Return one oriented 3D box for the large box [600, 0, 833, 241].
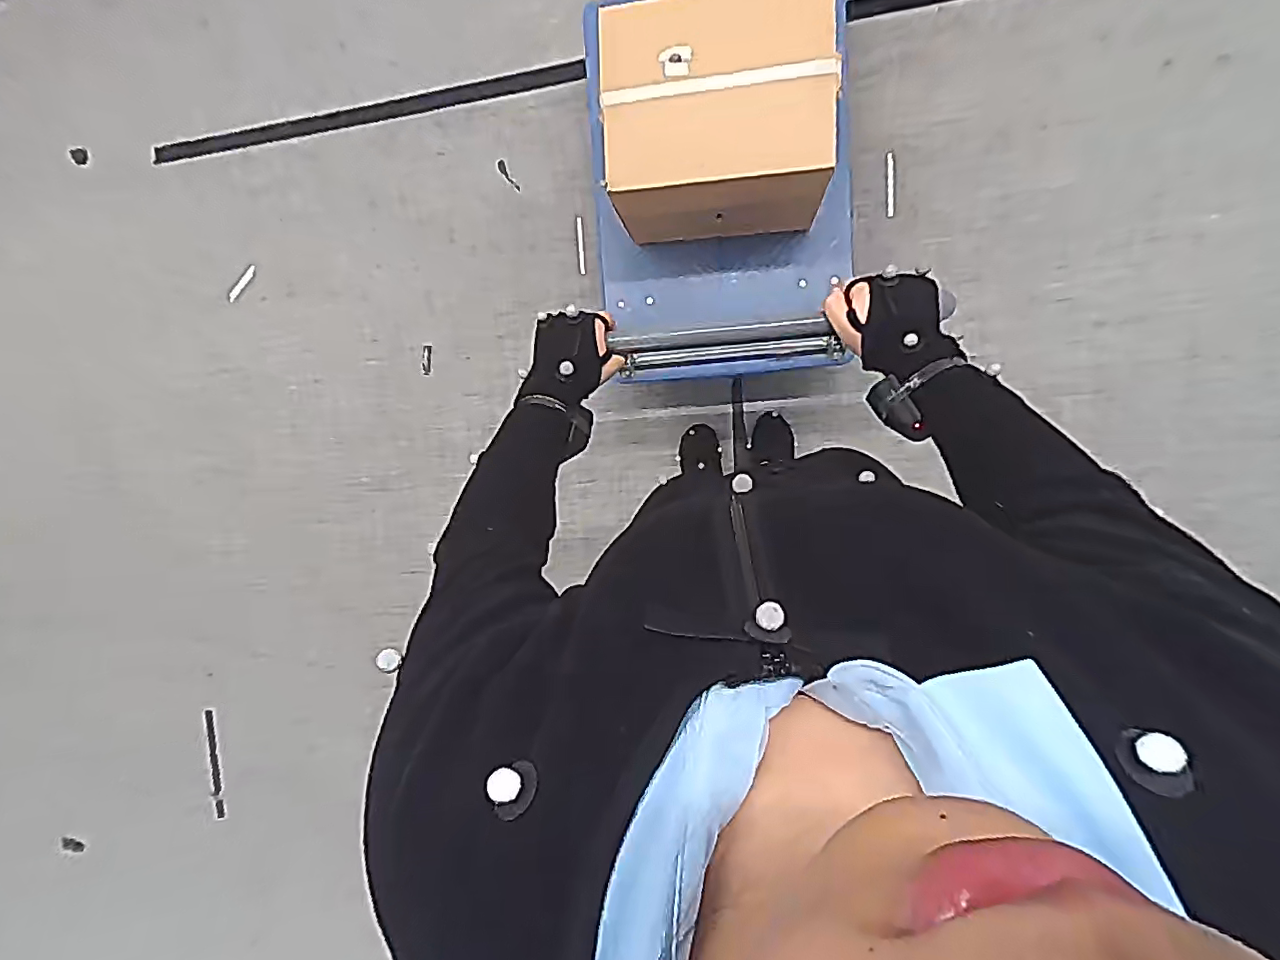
[{"bbox_3d":[0.158,-0.707,1.096,0.408,0.320,0.320,-1,95,10],"label":"large box"}]
